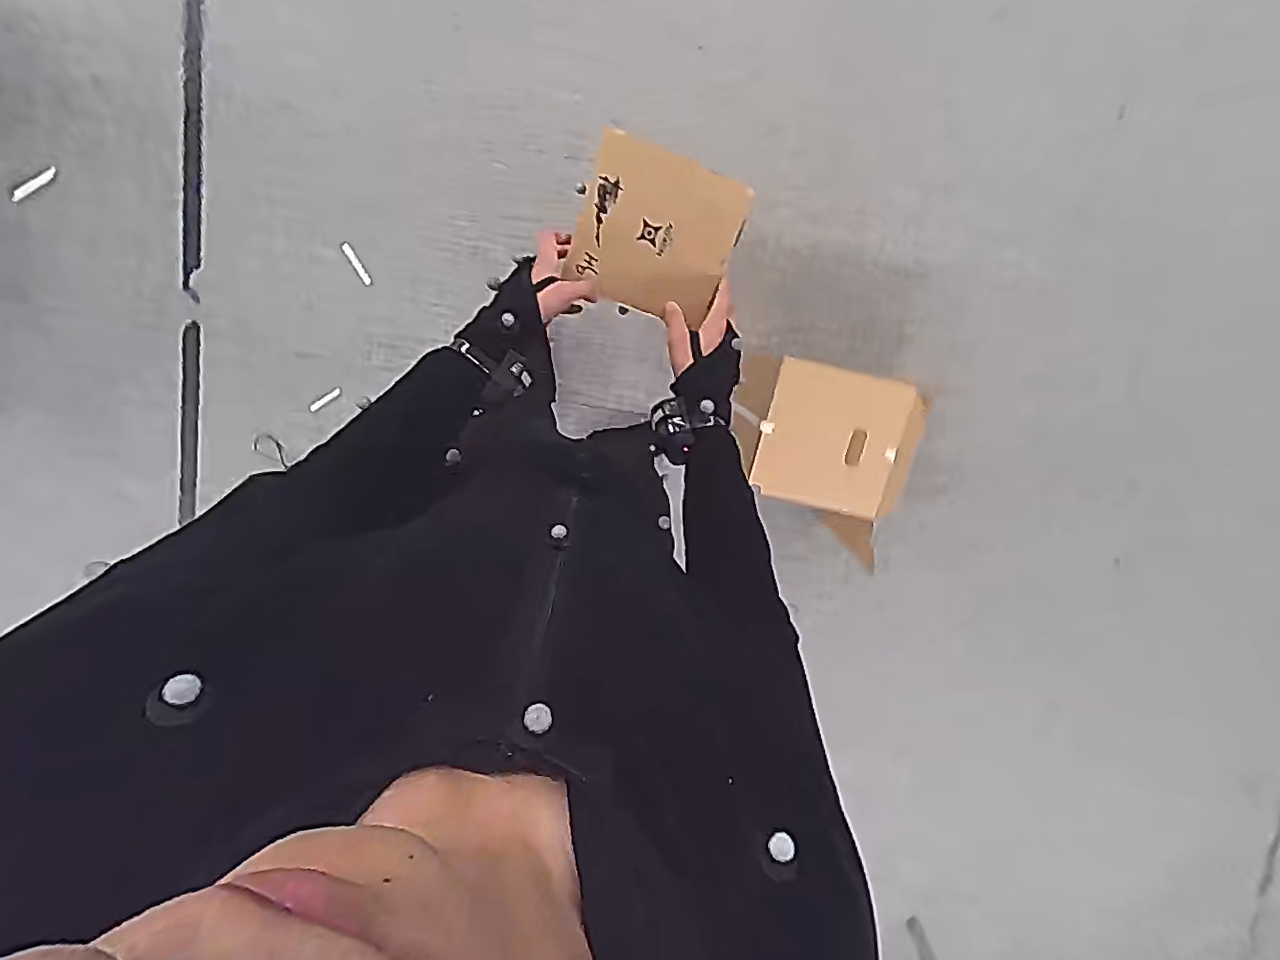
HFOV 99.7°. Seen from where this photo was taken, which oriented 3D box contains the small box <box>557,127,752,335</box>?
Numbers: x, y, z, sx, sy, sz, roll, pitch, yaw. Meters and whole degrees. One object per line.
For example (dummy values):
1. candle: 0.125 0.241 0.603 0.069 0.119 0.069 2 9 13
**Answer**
1. small box: 0.009 -0.297 0.665 0.179 0.176 0.168 17 110 -11
